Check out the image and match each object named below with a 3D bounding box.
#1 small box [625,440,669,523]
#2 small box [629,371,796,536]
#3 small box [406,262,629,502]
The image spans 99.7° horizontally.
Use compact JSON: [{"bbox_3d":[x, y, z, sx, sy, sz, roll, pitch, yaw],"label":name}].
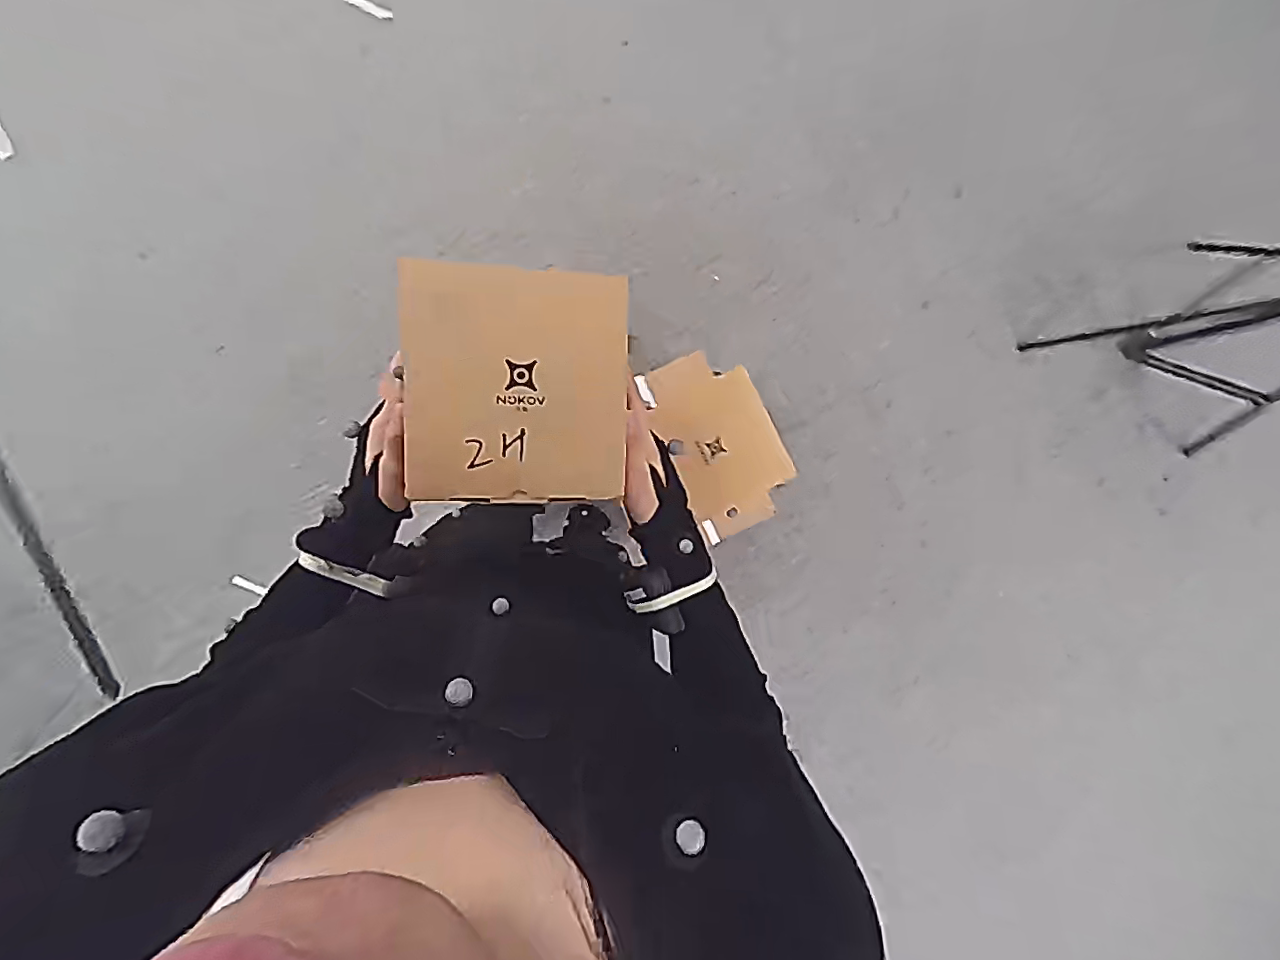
[{"bbox_3d":[0.074,-0.028,1.116,0.168,0.176,0.179,-27,92,-1],"label":"small box"},{"bbox_3d":[0.093,-0.038,0.790,0.179,0.176,0.168,-27,92,-1],"label":"small box"},{"bbox_3d":[-0.107,-0.075,0.487,0.168,0.176,0.179,0,94,-12],"label":"small box"}]
